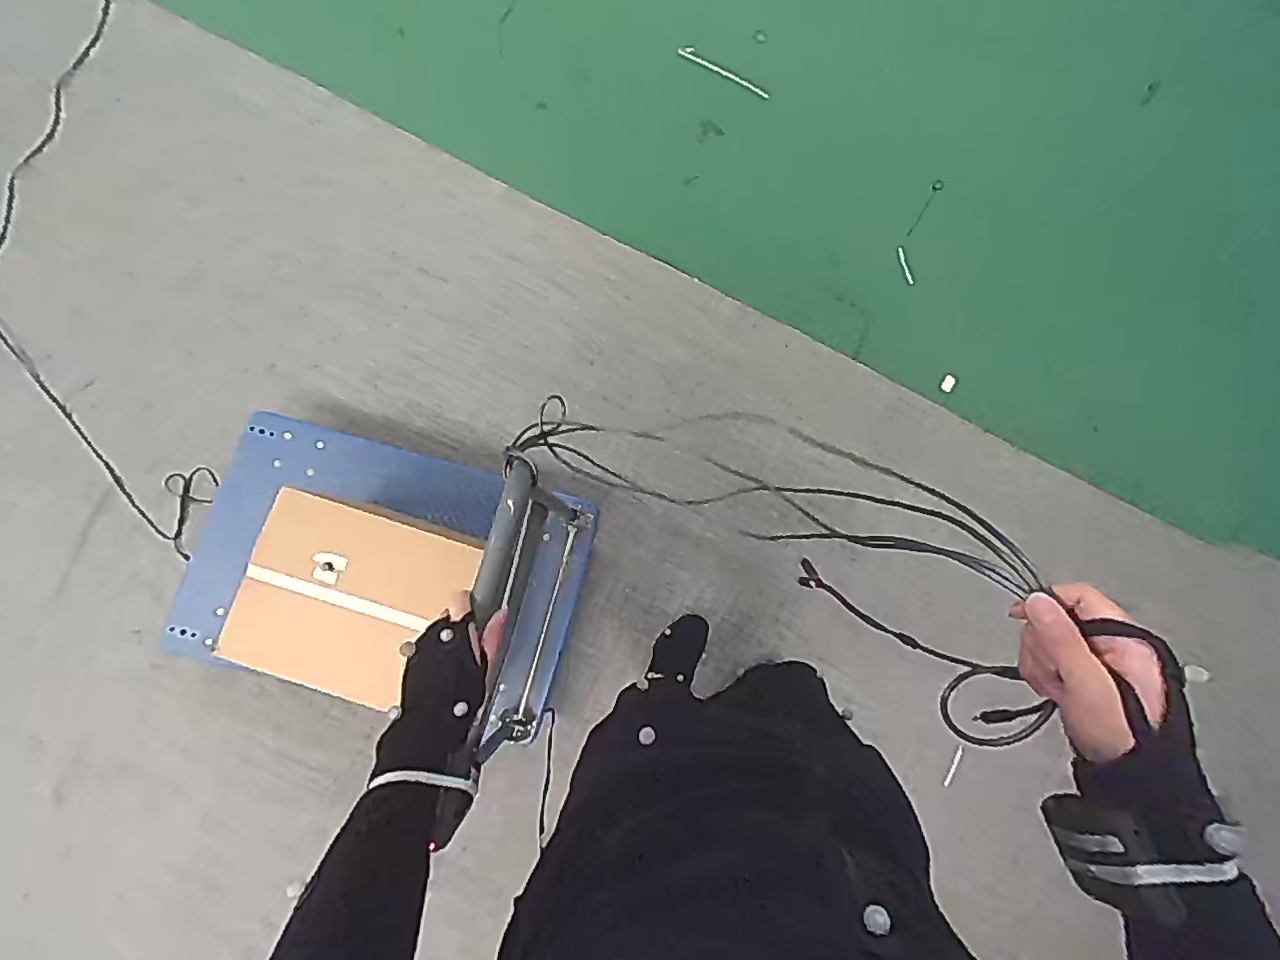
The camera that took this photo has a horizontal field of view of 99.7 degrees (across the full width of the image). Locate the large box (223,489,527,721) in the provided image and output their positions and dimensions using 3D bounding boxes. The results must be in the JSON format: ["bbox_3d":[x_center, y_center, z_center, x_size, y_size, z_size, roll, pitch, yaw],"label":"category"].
[{"bbox_3d":[-0.486,0.233,1.088,0.408,0.320,0.320,17,82,1],"label":"large box"}]
